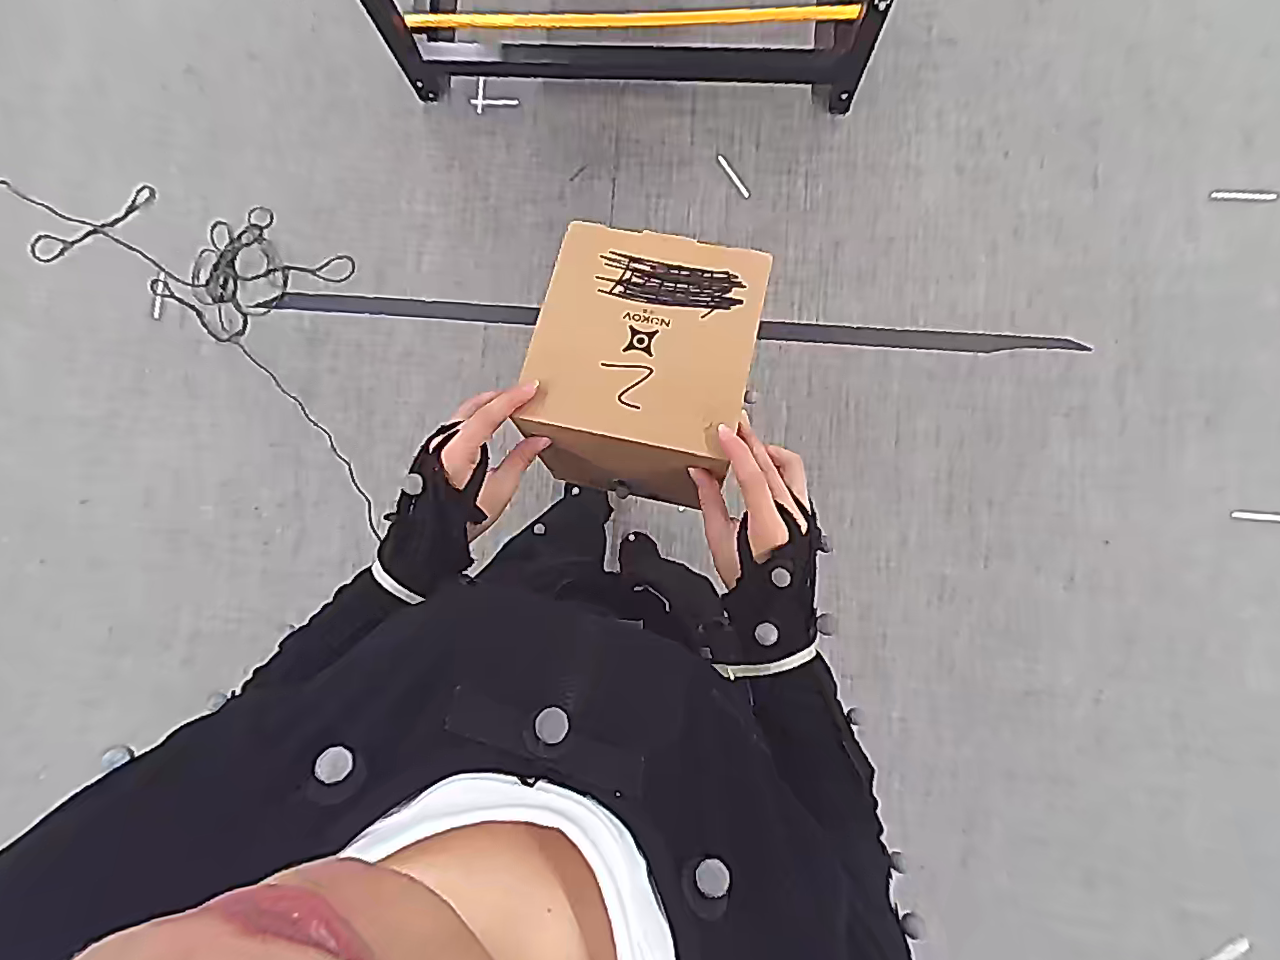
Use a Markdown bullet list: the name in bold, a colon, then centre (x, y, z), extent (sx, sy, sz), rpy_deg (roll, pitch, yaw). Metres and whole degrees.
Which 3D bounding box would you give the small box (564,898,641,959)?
- **small box**: centre (-0.089, 1.113, 1.242), extent (0.168, 0.176, 0.179), rpy_deg (6, 87, 4)
